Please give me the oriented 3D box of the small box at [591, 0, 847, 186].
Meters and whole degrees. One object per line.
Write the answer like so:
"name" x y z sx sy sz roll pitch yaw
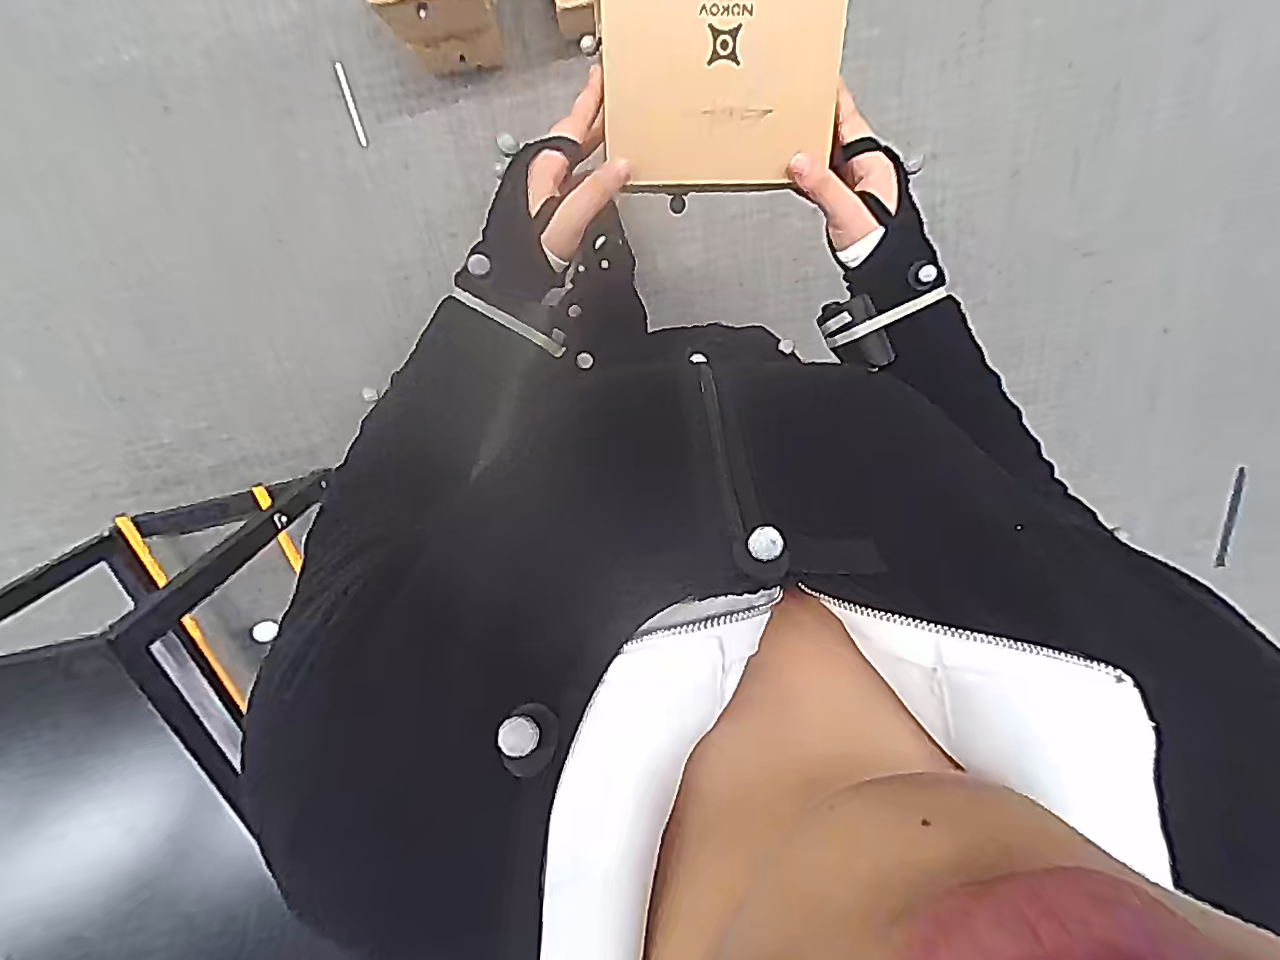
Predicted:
"small box" 0.047 -0.334 0.423 0.168 0.176 0.179 -2 117 -4

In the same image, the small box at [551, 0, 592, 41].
"small box" -0.091 -0.975 1.024 0.179 0.176 0.168 -13 113 1

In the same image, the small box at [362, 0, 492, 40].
"small box" -0.359 -0.851 0.877 0.179 0.176 0.168 -10 113 0

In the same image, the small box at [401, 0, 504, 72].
"small box" -0.370 -0.909 1.032 0.168 0.176 0.179 -10 114 1
